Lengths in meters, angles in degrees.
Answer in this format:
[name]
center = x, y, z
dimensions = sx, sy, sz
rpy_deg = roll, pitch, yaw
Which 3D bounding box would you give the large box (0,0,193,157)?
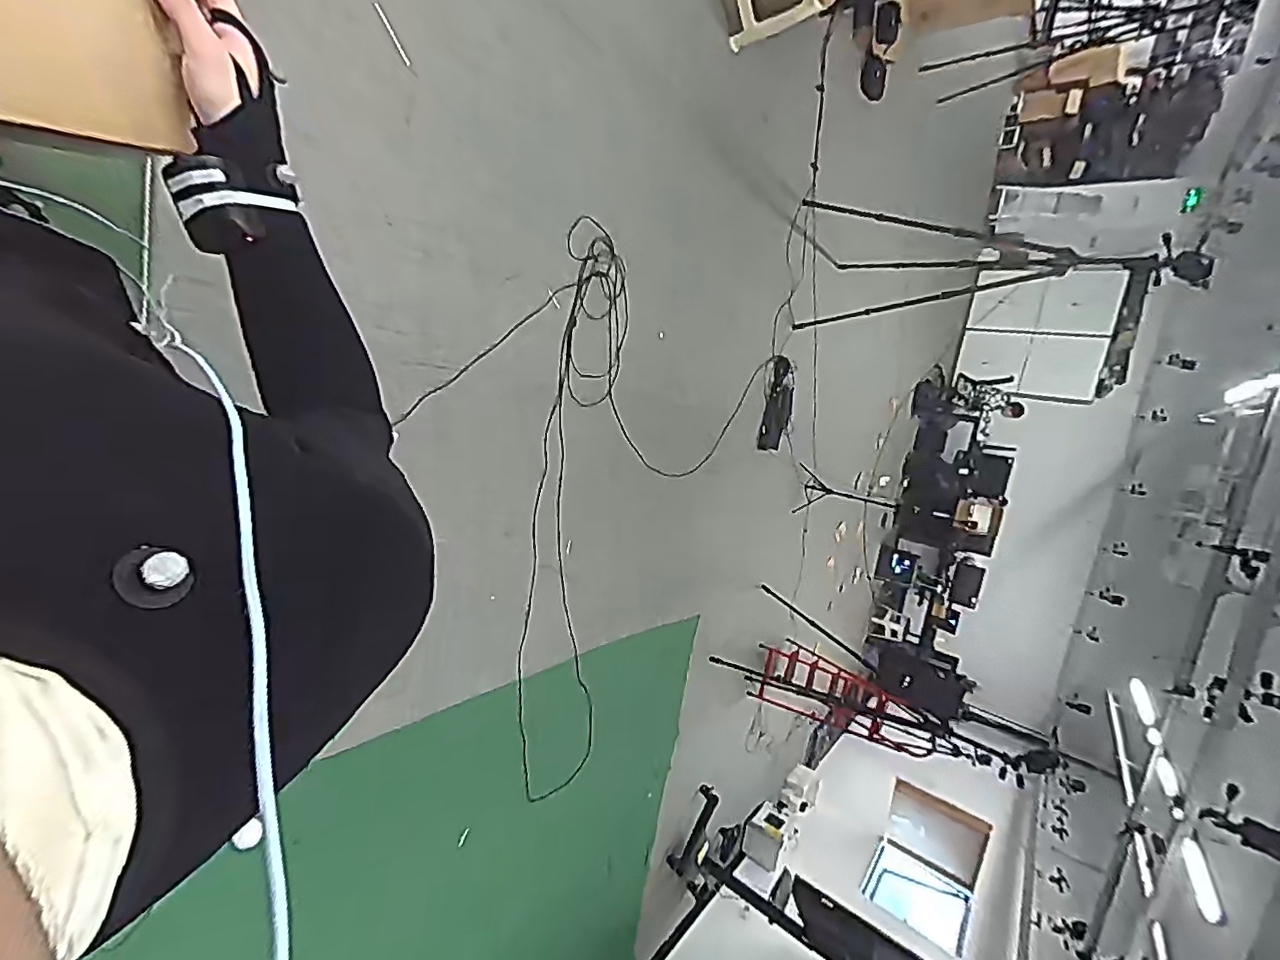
[large box]
center = -0.604, -0.423, 0.344
dimensions = 0.408, 0.320, 0.320
rpy_deg = -18, 124, -47
